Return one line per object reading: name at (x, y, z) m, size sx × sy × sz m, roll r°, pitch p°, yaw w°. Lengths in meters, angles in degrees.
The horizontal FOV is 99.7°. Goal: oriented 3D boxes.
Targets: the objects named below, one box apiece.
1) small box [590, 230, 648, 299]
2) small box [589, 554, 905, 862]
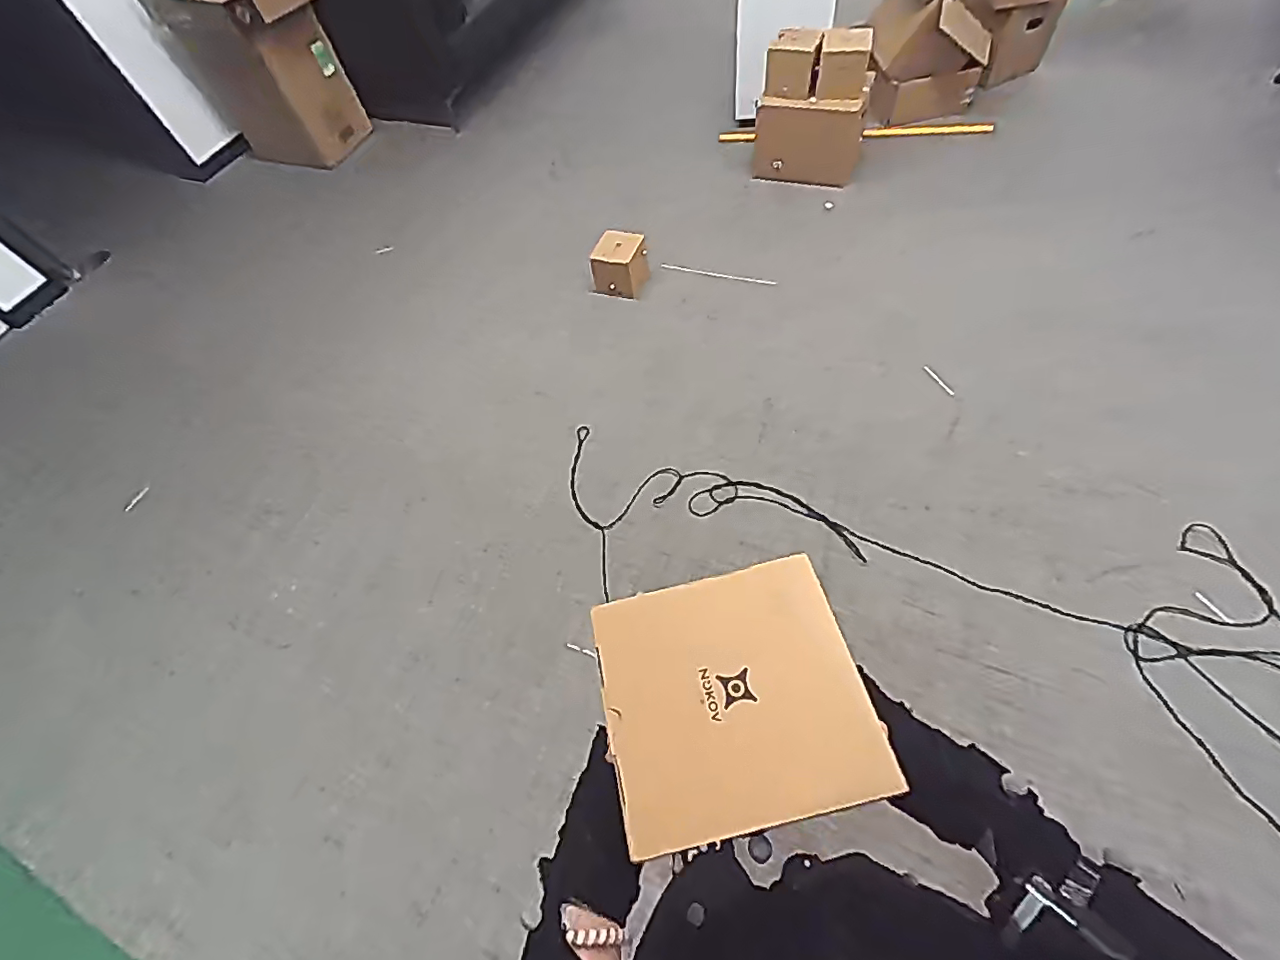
small box at (-0.075, -0.846, 2.125) m, size 0.168 × 0.176 × 0.179 m, roll 15°, pitch 63°, yaw 17°
small box at (0.071, 0.183, 0.432) m, size 0.179 × 0.176 × 0.168 m, roll -15°, pitch 57°, yaw 1°
